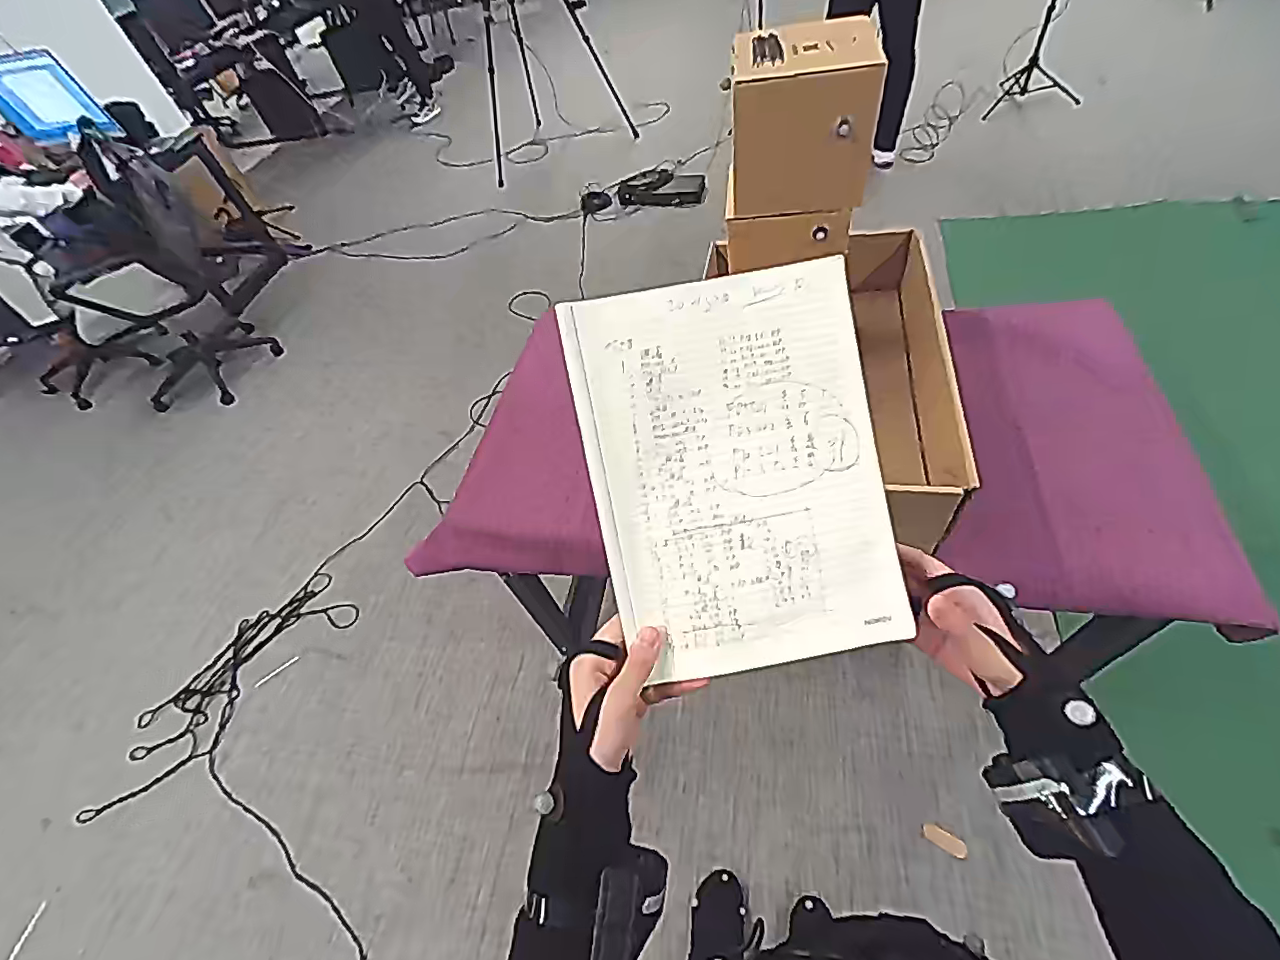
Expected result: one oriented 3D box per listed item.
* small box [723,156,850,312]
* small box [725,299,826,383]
[{"bbox_3d":[0.230,-0.386,0.867,0.179,0.176,0.168,1,55,13],"label":"small box"},{"bbox_3d":[0.253,-0.294,0.998,0.168,0.176,0.179,3,55,14],"label":"small box"}]
